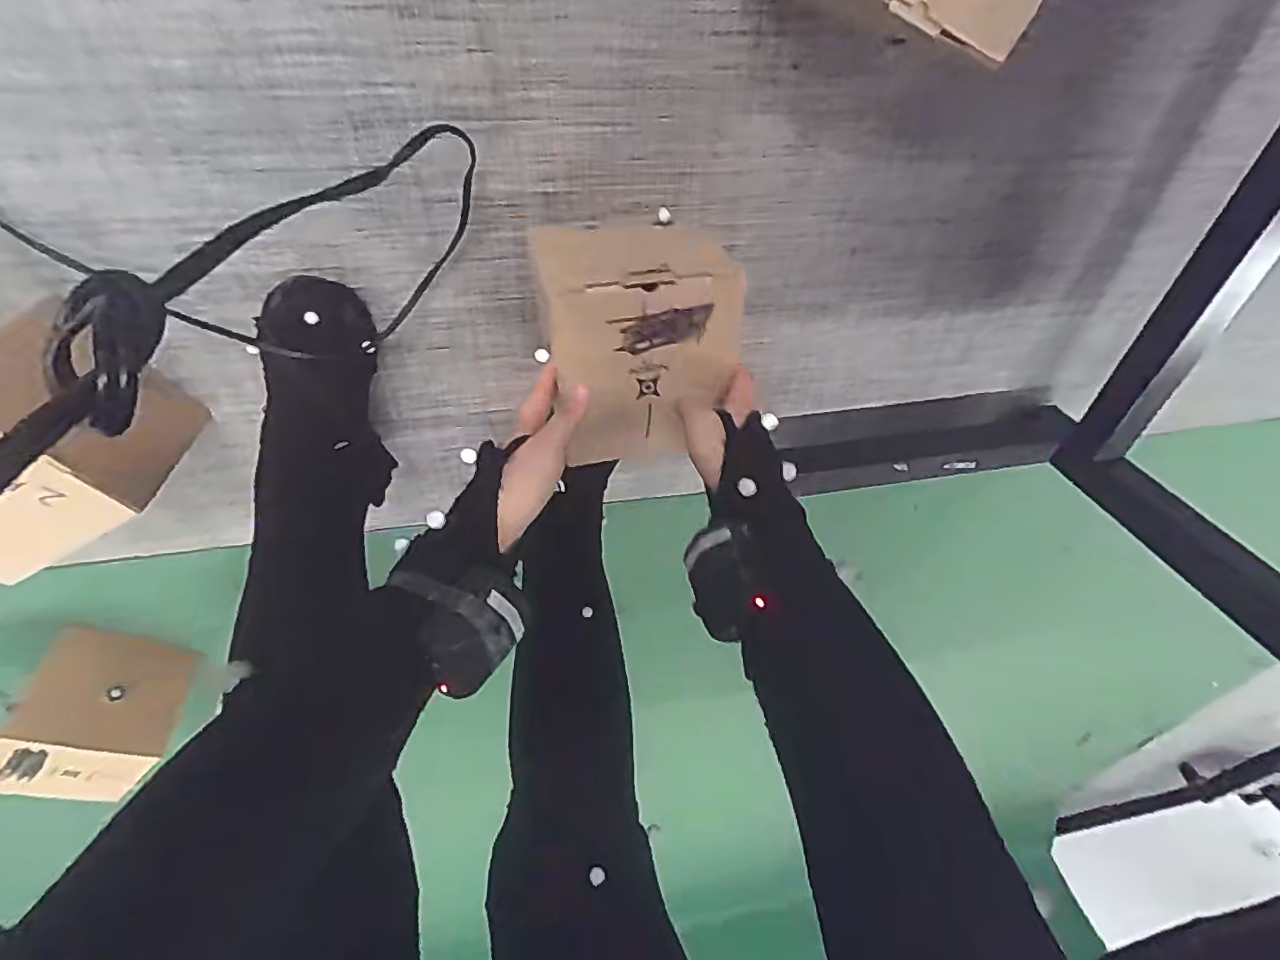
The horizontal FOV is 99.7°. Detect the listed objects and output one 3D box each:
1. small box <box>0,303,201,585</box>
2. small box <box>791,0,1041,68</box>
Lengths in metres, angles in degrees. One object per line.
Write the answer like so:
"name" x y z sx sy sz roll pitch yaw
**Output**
"small box" -0.585 -0.036 0.521 0.179 0.176 0.168 -26 132 9
"small box" 0.196 -0.423 0.371 0.168 0.176 0.179 8 127 -21
